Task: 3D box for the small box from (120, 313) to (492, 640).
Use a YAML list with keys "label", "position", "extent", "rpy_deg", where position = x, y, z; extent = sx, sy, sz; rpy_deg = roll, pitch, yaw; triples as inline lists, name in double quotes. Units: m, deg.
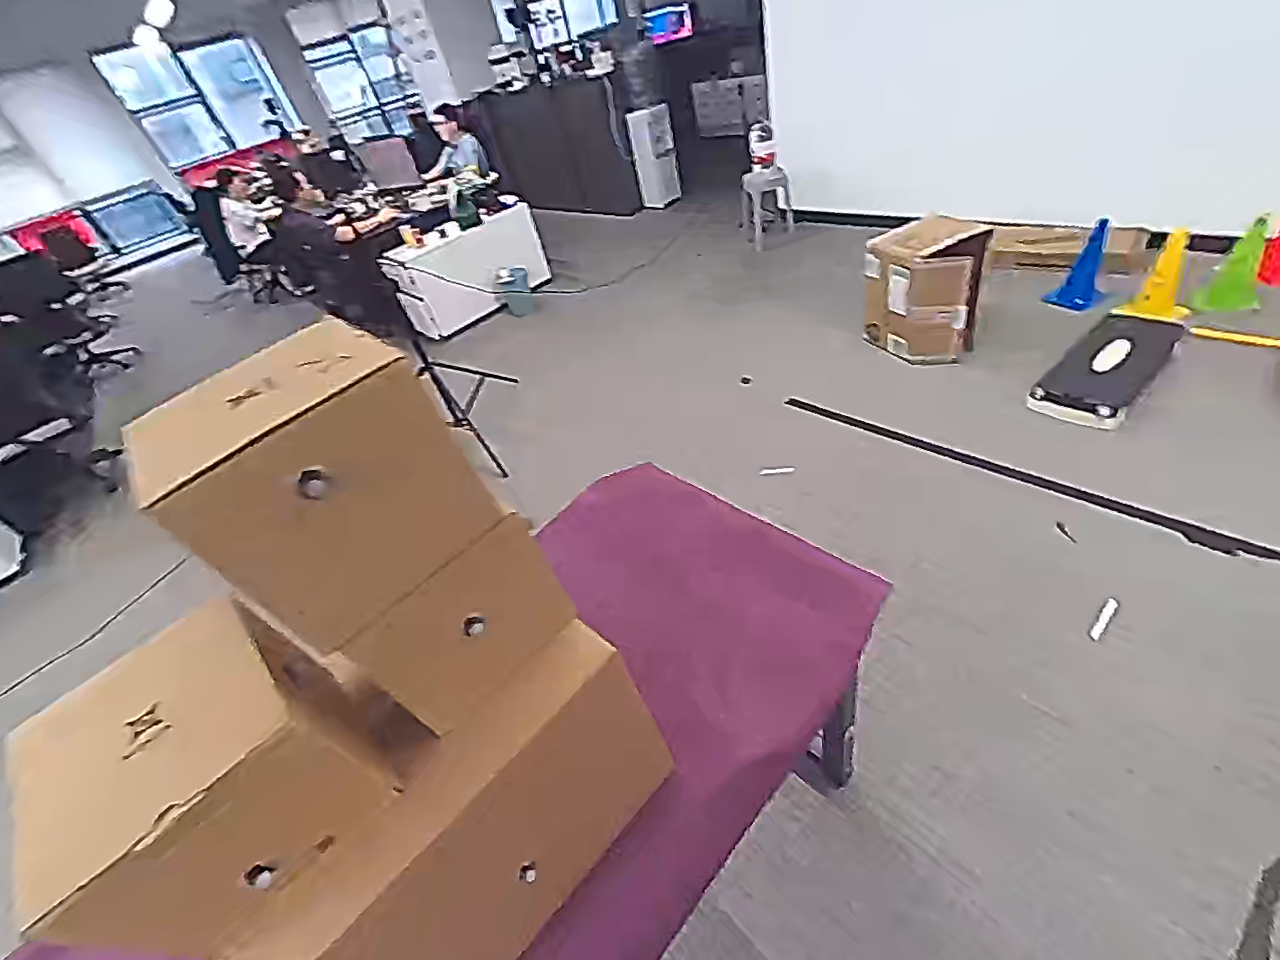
- label: "small box"
  position: [-0.255, -0.007, 0.437]
  extent: [0.179, 0.176, 0.168]
  rpy_deg: [-40, 45, -23]
